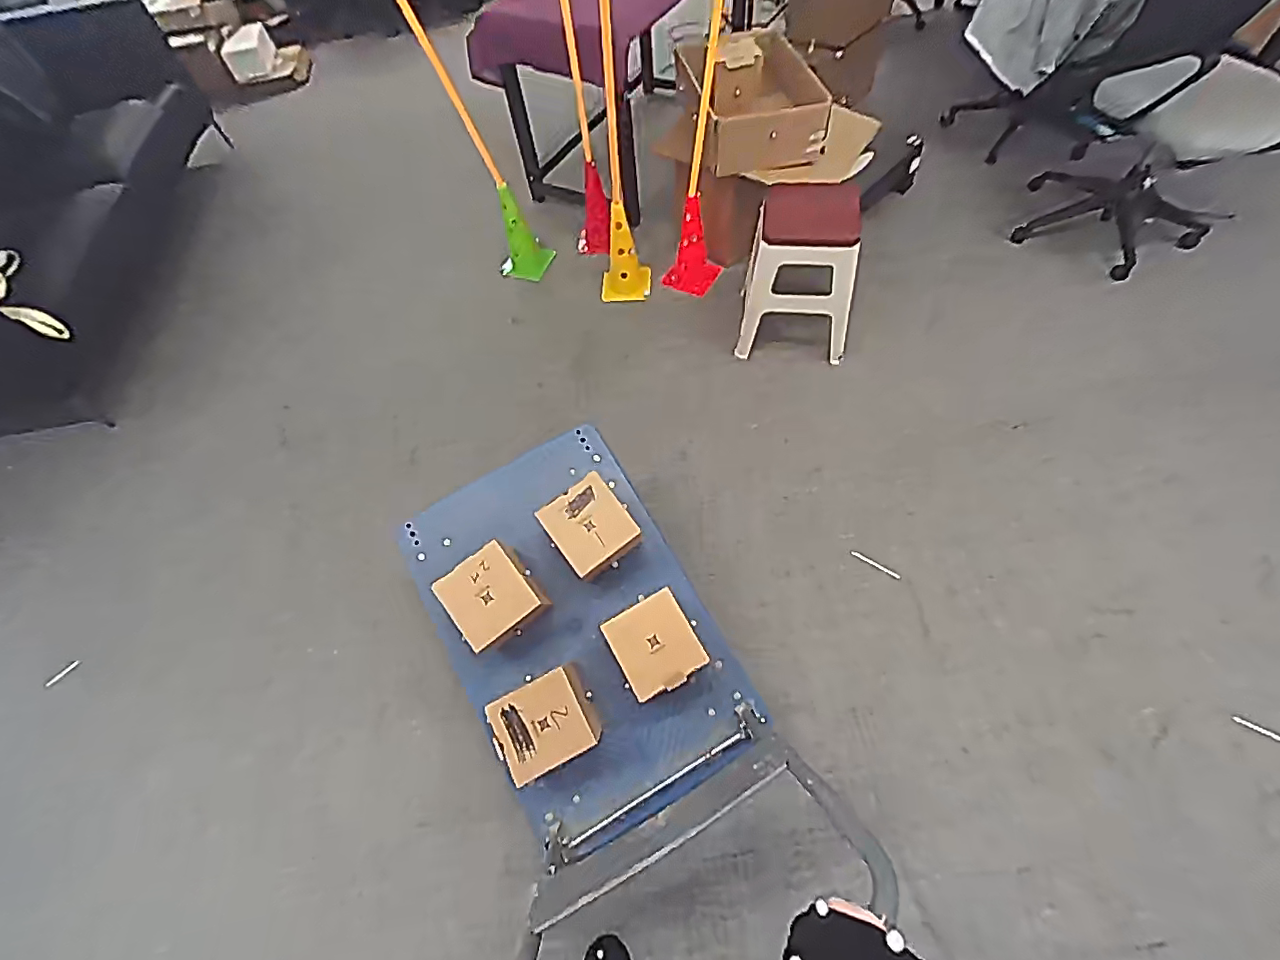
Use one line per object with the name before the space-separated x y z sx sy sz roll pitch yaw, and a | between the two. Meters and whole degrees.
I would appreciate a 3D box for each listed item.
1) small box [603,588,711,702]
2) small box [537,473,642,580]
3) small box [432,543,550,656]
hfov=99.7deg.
small box | 0.032 0.356 1.185 0.168 0.176 0.179 -30 78 -7
small box | -0.111 0.115 1.244 0.168 0.176 0.179 -37 79 -8
small box | -0.321 0.265 1.206 0.168 0.176 0.179 -37 79 -10
